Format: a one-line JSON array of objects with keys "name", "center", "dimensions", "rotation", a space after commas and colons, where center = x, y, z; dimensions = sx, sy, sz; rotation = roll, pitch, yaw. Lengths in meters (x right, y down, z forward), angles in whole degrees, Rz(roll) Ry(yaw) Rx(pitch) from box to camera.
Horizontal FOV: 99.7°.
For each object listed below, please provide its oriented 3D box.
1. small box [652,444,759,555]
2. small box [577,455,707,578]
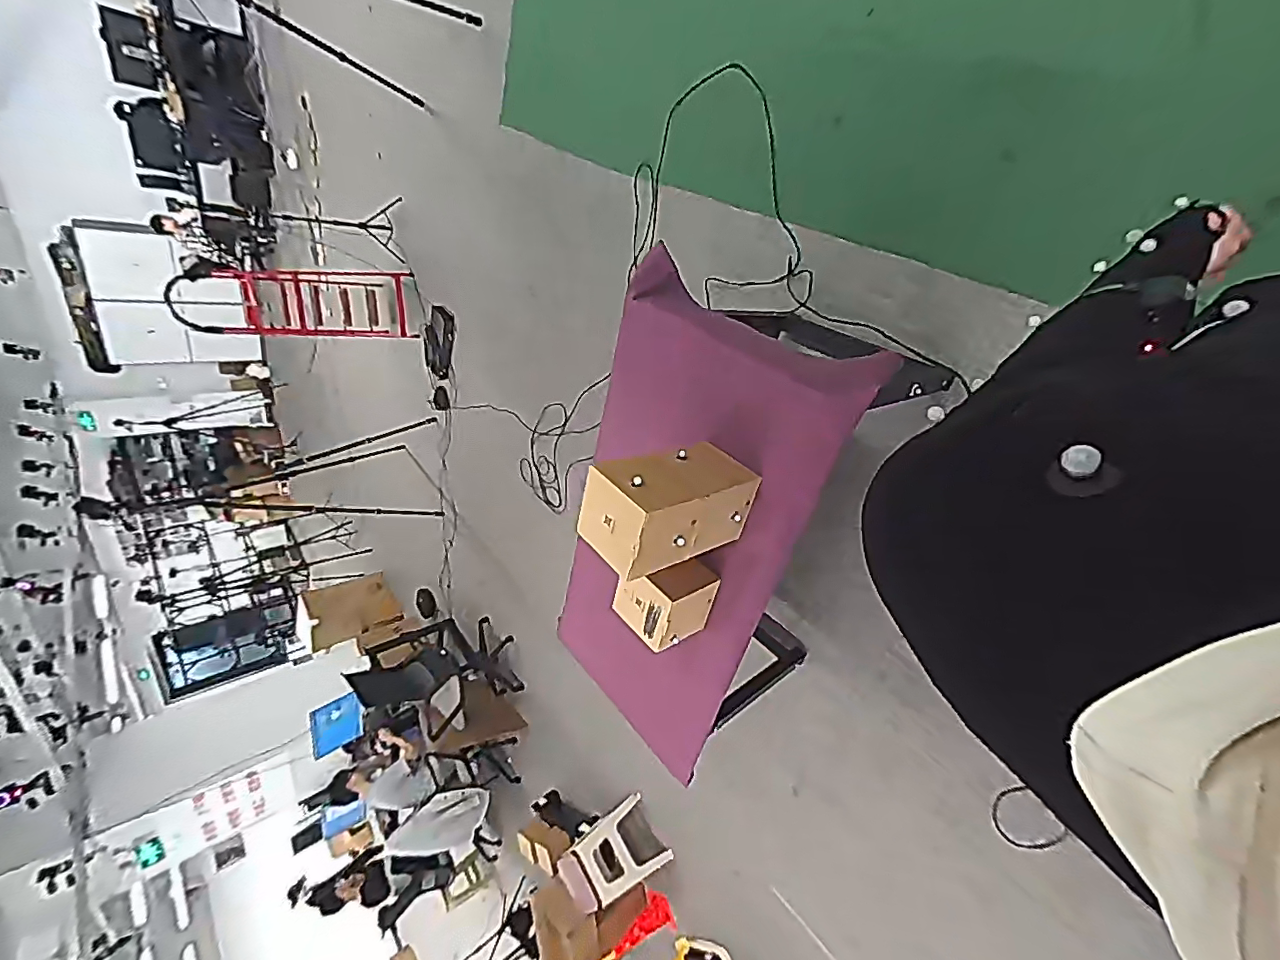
[{"name": "small box", "center": [0.124, 0.032, 1.179], "dimensions": [0.179, 0.176, 0.168], "rotation": [38, 128, 35]}, {"name": "small box", "center": [0.002, 0.062, 1.076], "dimensions": [0.179, 0.176, 0.168], "rotation": [38, 127, 35]}]
